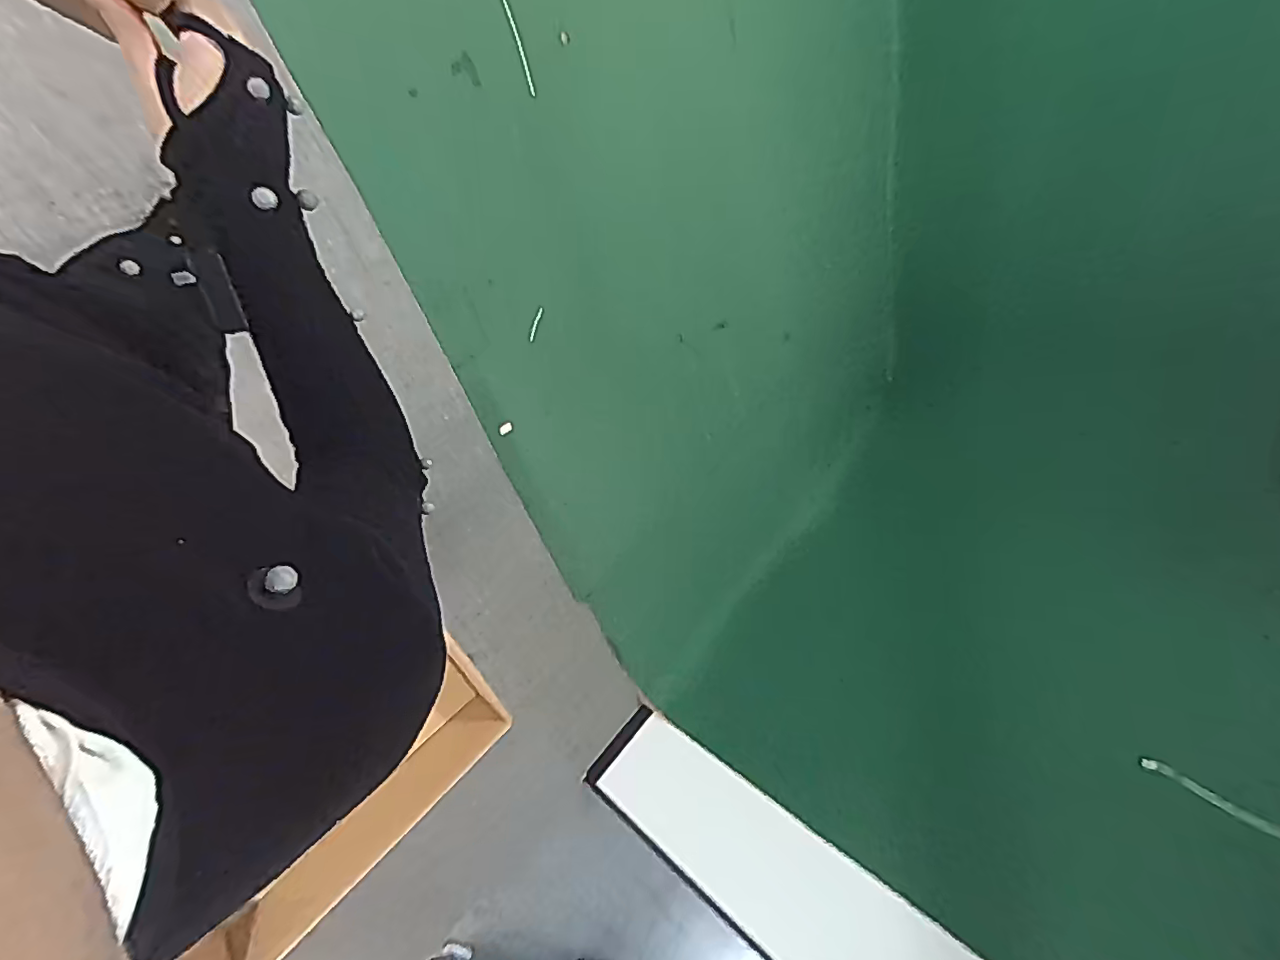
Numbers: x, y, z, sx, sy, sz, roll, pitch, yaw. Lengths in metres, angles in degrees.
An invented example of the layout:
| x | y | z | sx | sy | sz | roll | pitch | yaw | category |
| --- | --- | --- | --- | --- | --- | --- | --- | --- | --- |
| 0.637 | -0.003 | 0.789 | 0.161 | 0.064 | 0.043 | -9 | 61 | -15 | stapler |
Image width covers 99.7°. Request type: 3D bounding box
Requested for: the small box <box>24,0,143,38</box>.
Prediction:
| x | y | z | sx | sy | sz | roll | pitch | yaw | category |
| --- | --- | --- | --- | --- | --- | --- | --- | --- | --- |
| -0.403 | -0.422 | 0.327 | 0.168 | 0.176 | 0.179 | 10 | 104 | -49 | small box |
